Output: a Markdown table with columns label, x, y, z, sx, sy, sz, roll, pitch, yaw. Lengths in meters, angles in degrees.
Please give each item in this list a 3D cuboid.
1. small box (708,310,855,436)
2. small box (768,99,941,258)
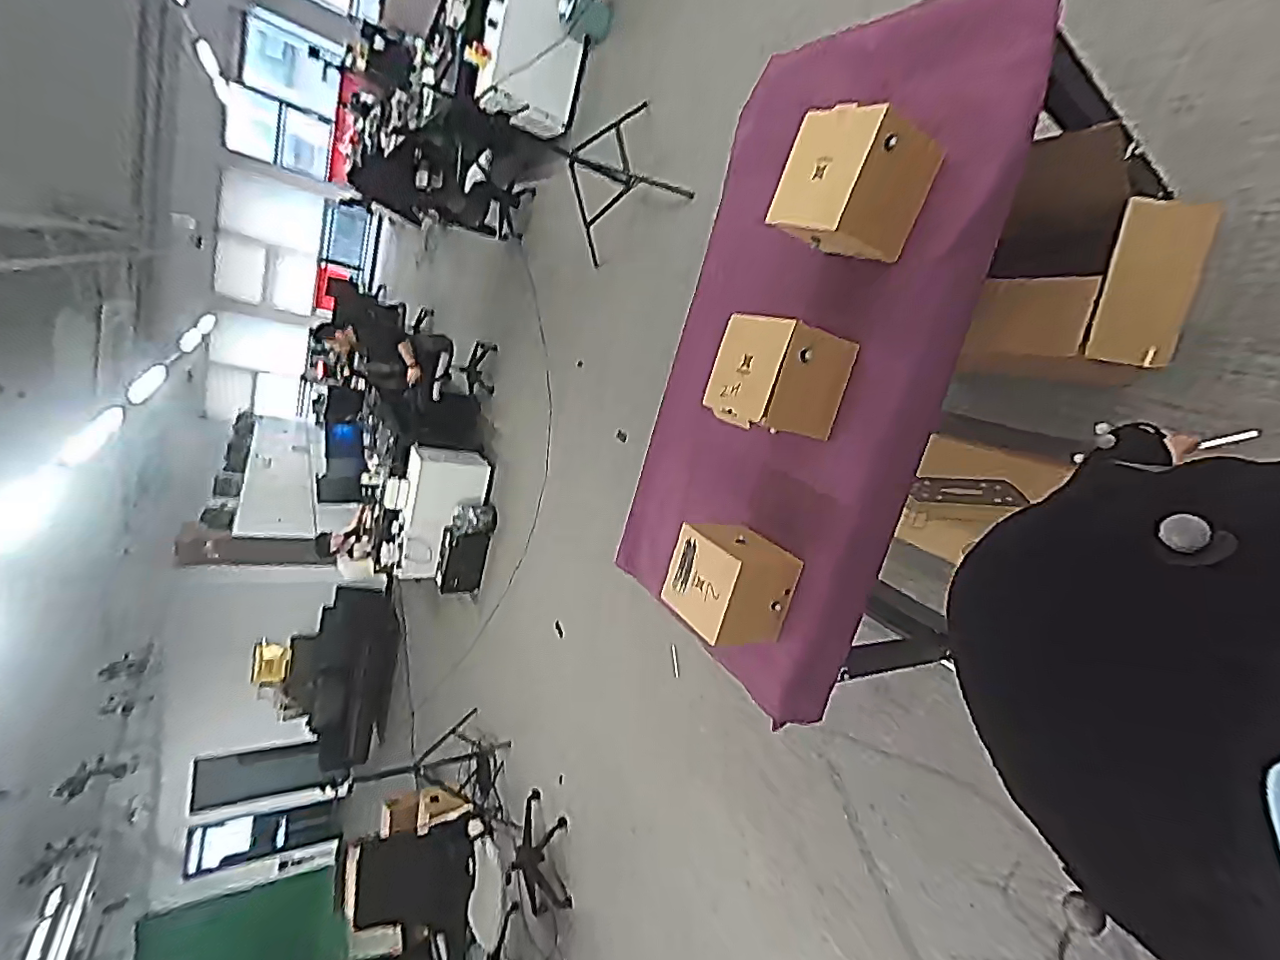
| label | x | y | z | sx | sy | sz | roll | pitch | yaw |
| --- | --- | --- | --- | --- | --- | --- | --- | --- | --- |
| small box | 0.256 | -0.192 | 0.975 | 0.168 | 0.176 | 0.179 | 34 | 113 | 55 |
| small box | 0.350 | -0.482 | 0.884 | 0.168 | 0.176 | 0.179 | 43 | 120 | 50 |
